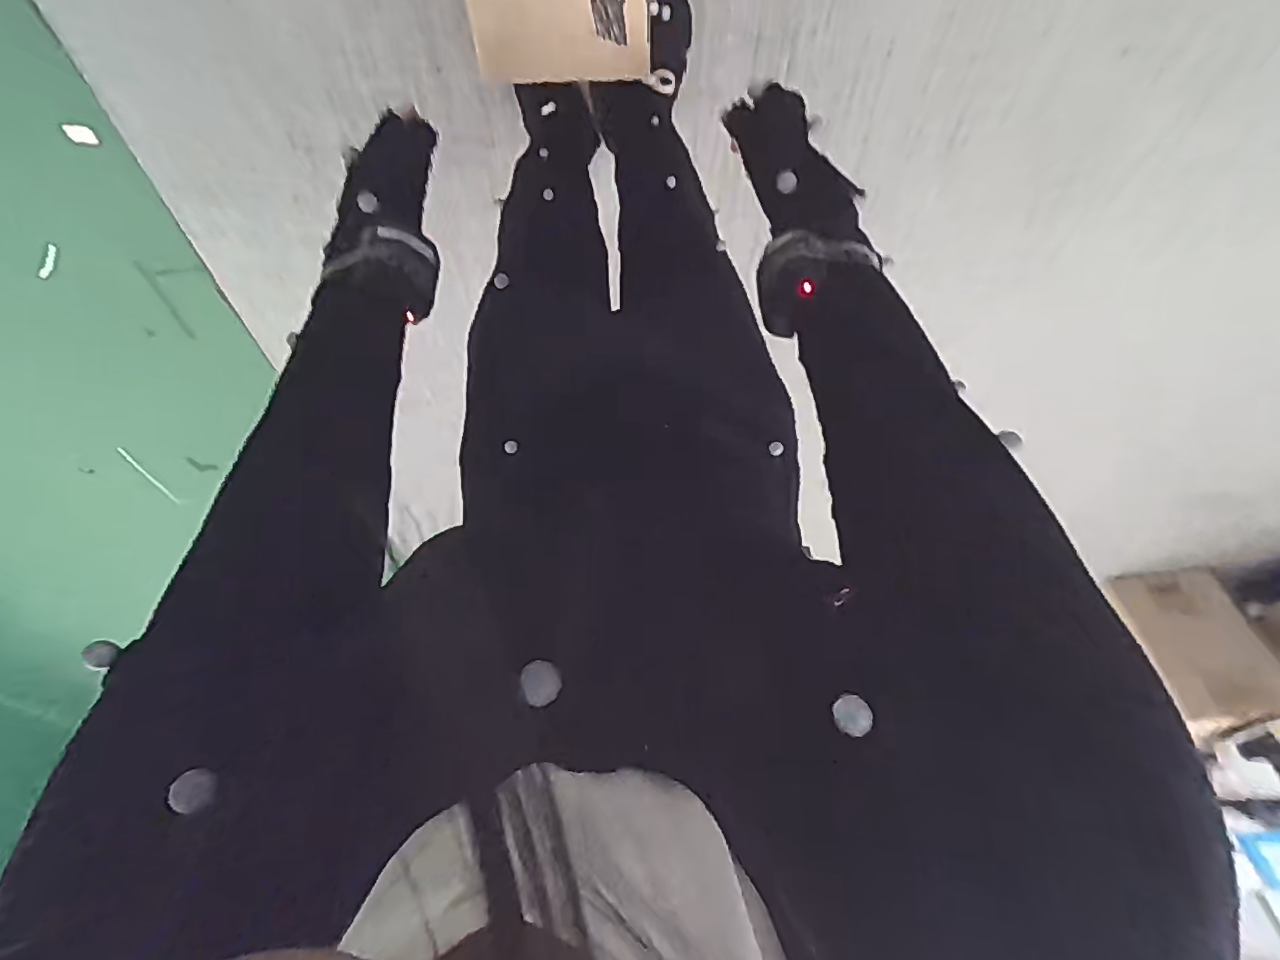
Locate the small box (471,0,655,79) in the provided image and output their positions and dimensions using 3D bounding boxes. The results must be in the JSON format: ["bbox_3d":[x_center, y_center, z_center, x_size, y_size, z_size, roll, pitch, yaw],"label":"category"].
[{"bbox_3d":[-0.074,-0.530,0.545,0.179,0.176,0.168,0,140,-2],"label":"small box"}]
